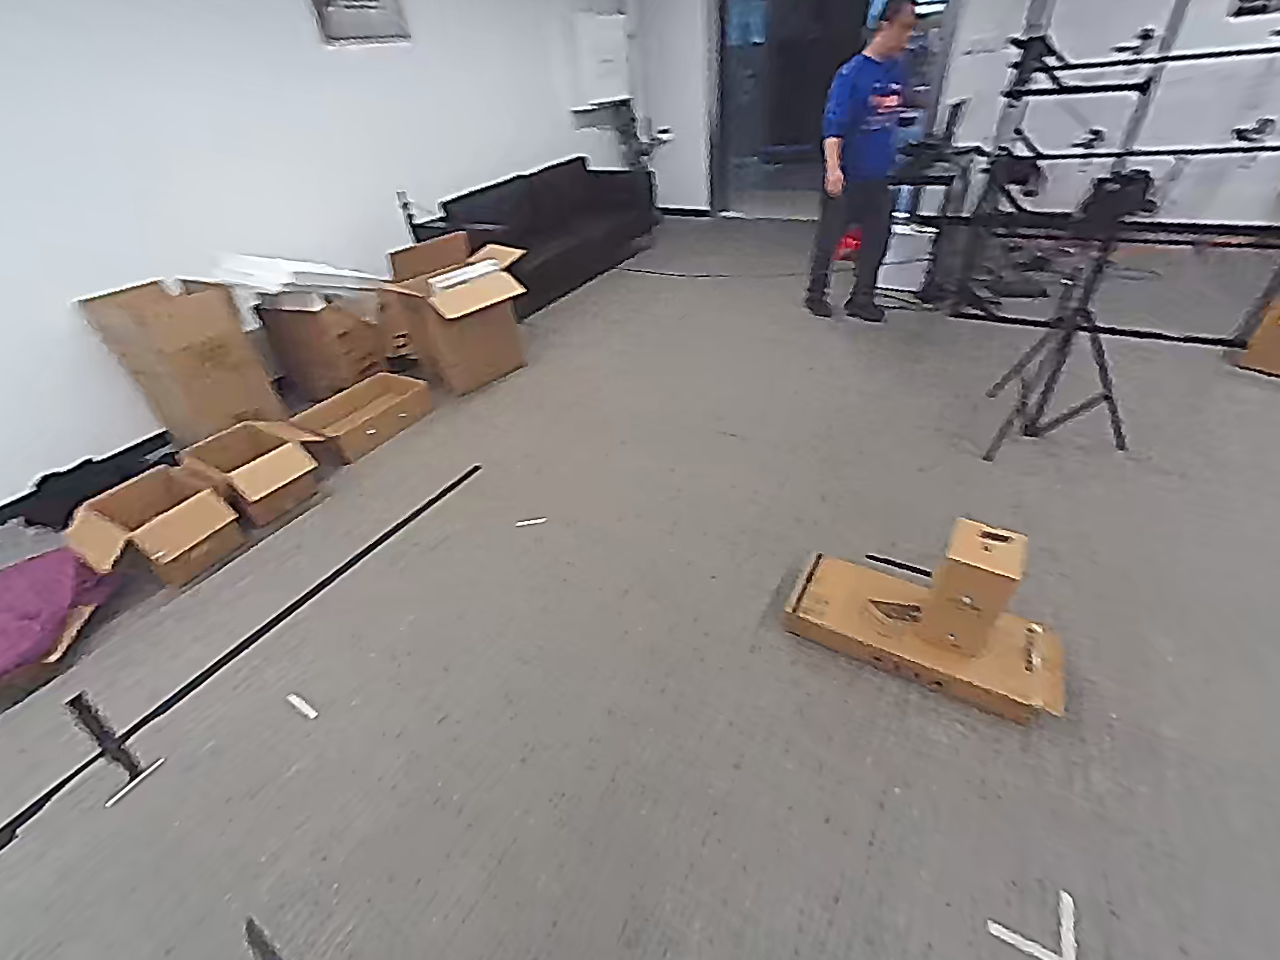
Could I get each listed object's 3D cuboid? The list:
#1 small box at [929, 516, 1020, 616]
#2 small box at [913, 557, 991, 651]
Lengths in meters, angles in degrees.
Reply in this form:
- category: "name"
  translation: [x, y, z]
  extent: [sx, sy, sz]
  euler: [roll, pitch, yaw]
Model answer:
- category: "small box"
  translation: [0.912, 0.234, 1.481]
  extent: [0.168, 0.176, 0.179]
  euler: [19, 44, 29]
- category: "small box"
  translation: [0.917, 0.362, 1.584]
  extent: [0.168, 0.176, 0.179]
  euler: [16, 42, 26]
